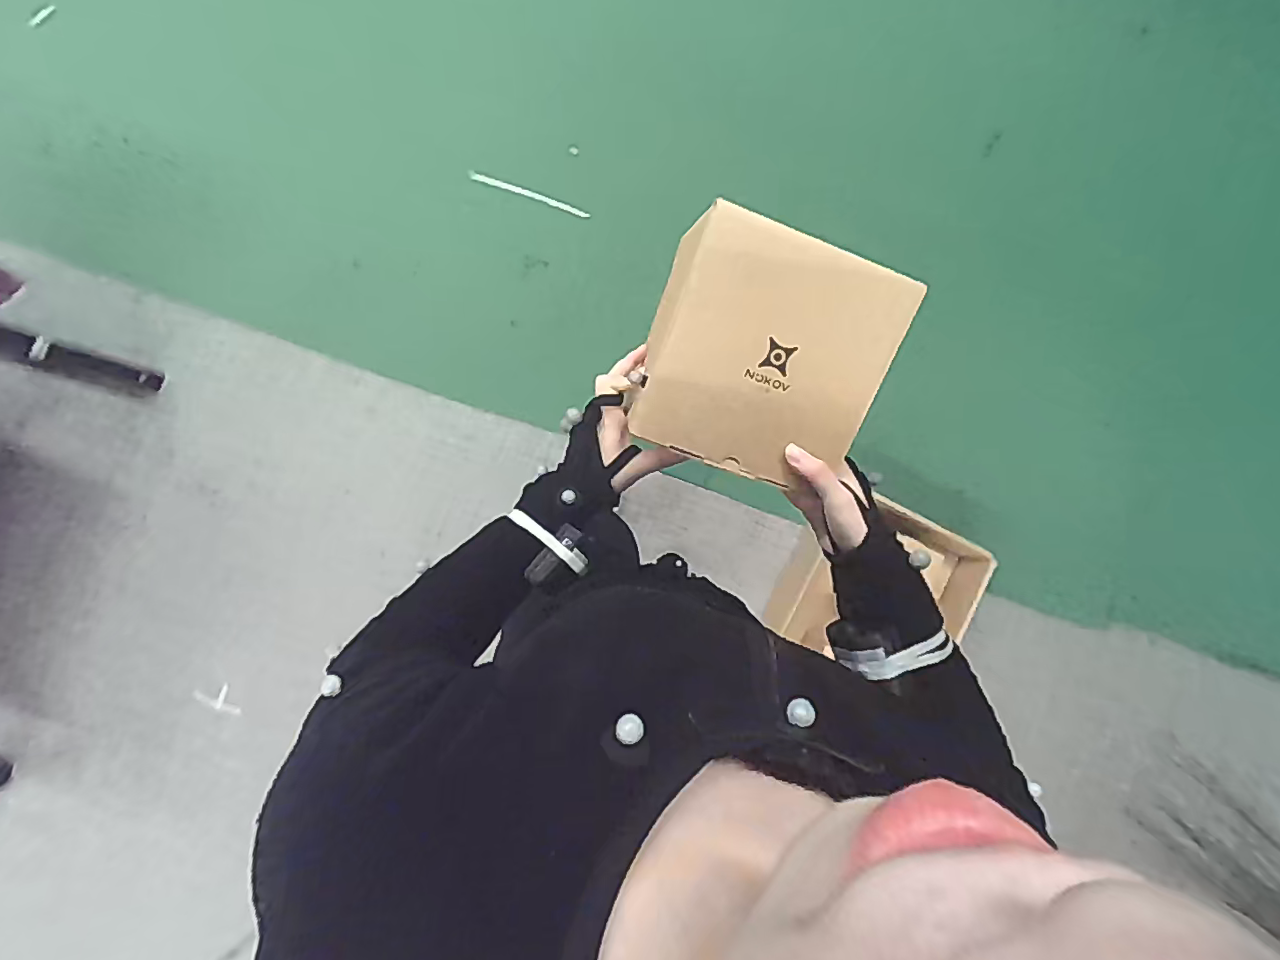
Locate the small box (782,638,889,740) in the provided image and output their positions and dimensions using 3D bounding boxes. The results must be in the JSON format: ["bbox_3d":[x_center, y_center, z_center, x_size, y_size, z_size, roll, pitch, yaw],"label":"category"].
[{"bbox_3d":[0.477,0.511,1.352,0.179,0.176,0.168,24,85,2],"label":"small box"}]
